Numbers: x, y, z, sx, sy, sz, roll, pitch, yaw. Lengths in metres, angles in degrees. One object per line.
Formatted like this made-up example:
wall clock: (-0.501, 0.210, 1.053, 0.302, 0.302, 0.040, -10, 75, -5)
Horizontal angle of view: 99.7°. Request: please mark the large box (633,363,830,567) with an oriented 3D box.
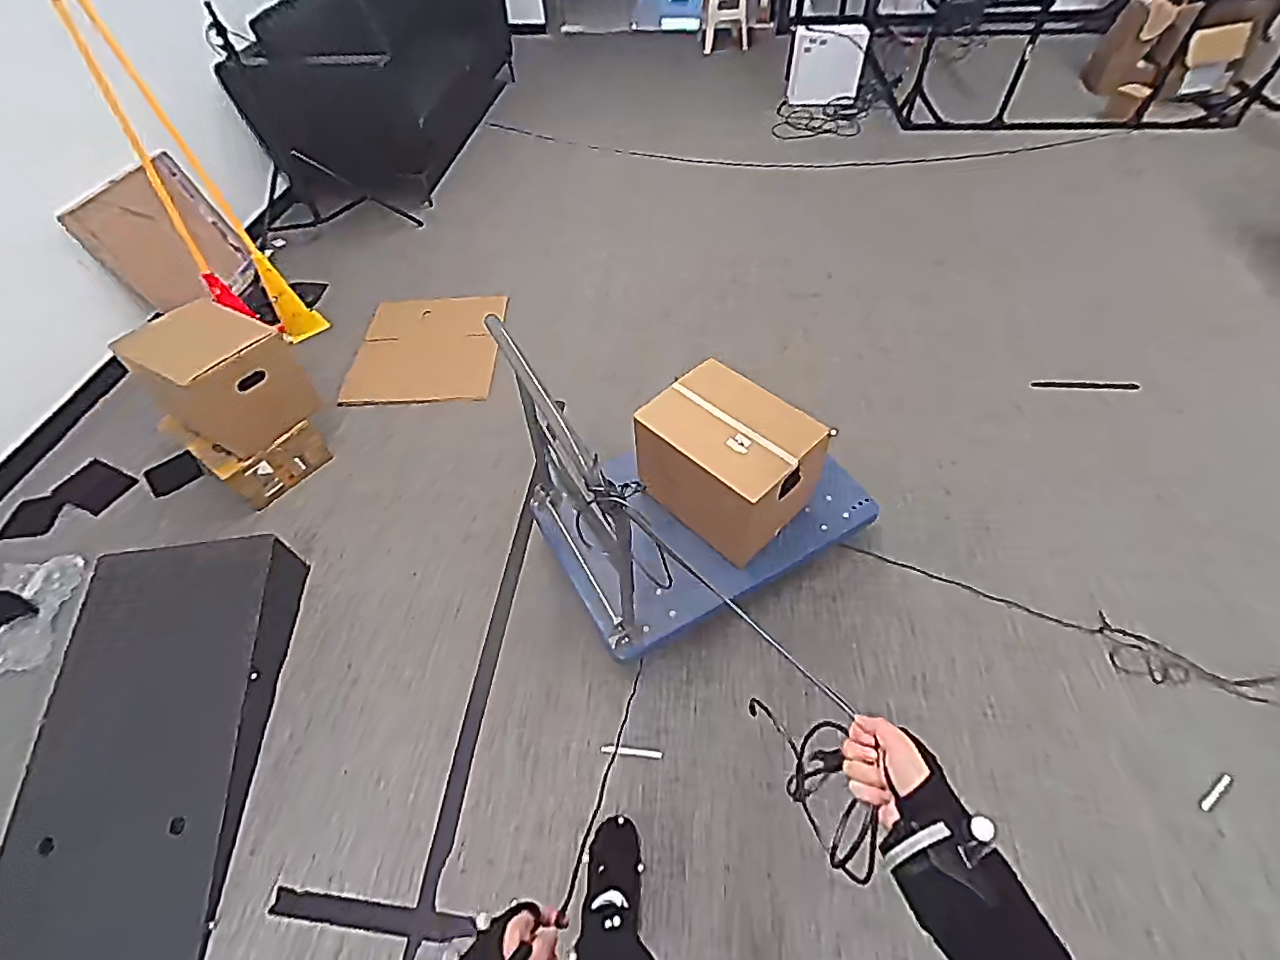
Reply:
large box: (0.228, -0.045, 1.479, 0.320, 0.320, 0.408, -39, 61, -23)
